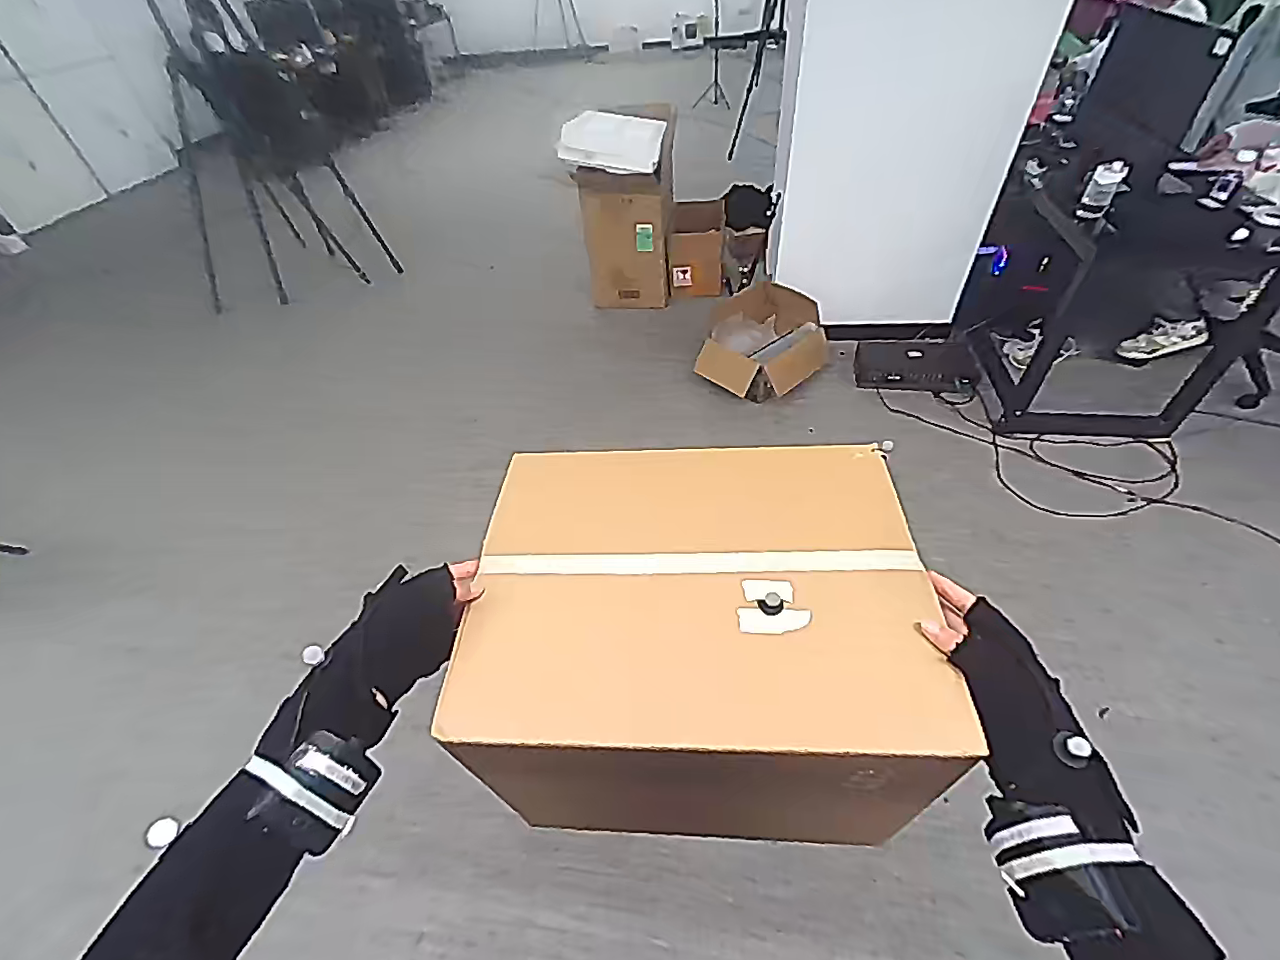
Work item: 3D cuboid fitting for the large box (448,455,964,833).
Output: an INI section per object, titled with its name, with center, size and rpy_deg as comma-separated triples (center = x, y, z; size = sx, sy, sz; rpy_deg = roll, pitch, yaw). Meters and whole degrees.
[large box]
center = 0.059, 0.189, 0.620
size = 0.408, 0.320, 0.320
rpy_deg = -1, 47, 6
